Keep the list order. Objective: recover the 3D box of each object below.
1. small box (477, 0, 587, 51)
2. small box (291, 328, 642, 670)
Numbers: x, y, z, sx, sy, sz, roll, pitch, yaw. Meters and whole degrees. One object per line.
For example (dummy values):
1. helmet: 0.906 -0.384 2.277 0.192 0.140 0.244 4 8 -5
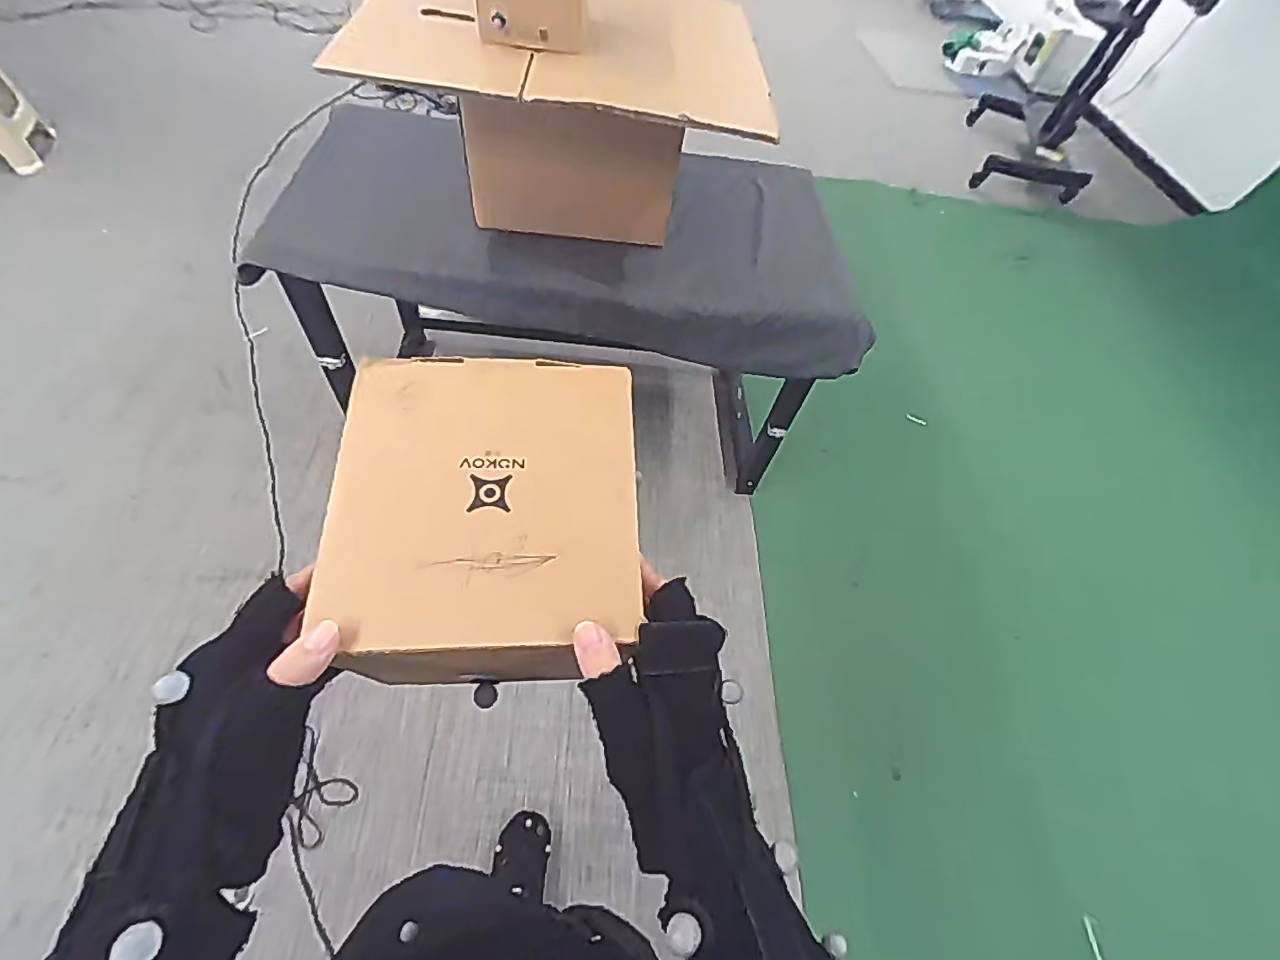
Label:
1. small box: -0.170 -0.820 0.862 0.168 0.176 0.179 4 56 -5
2. small box: -0.093 0.024 0.363 0.168 0.176 0.179 1 65 -8
